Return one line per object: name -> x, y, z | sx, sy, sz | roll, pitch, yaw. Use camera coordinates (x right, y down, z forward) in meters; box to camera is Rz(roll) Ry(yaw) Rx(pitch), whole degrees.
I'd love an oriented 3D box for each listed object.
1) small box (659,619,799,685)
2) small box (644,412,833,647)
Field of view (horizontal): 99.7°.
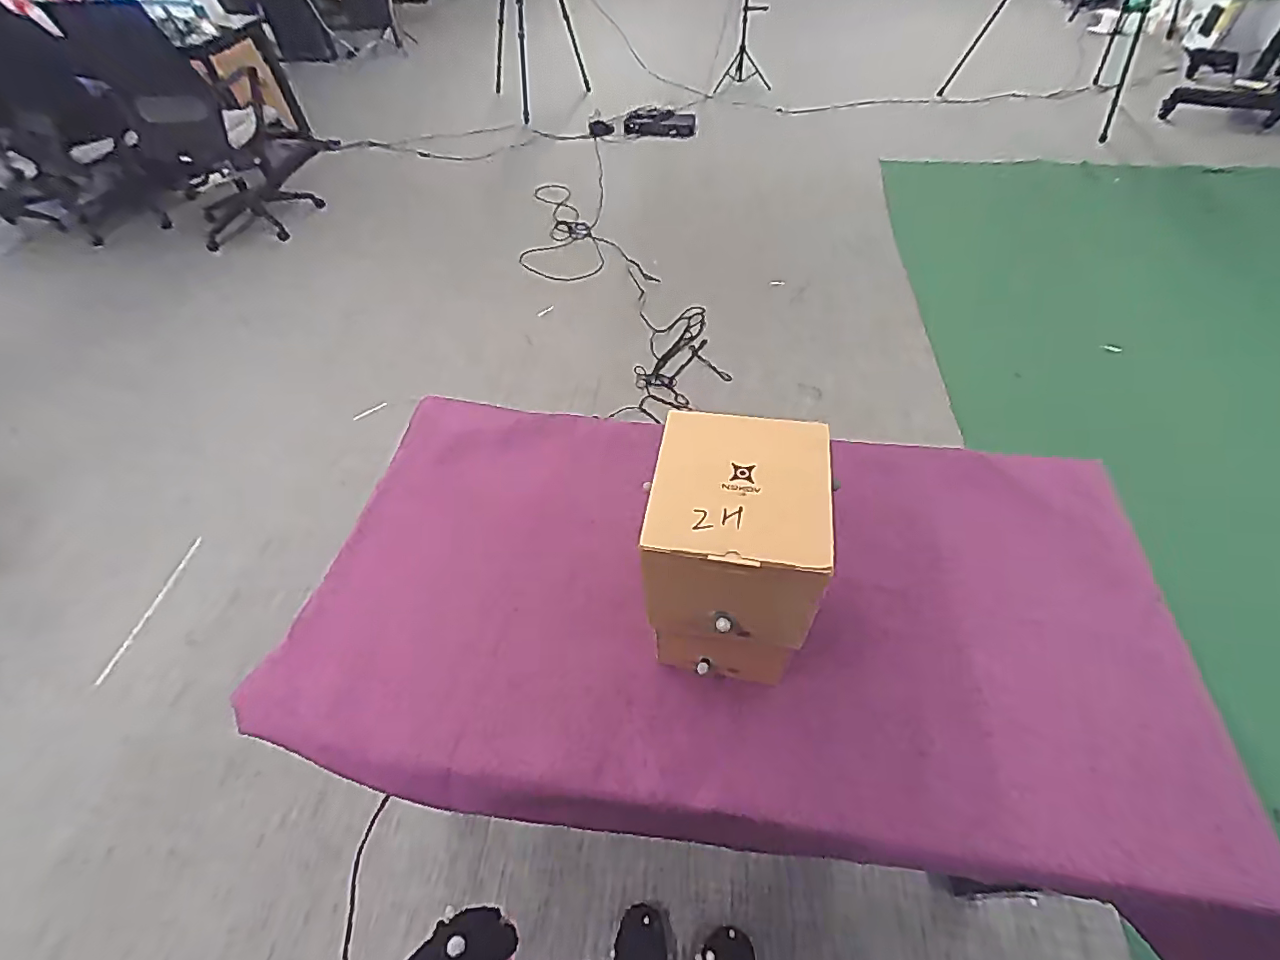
small box -> 0.118, 0.144, 0.713 | 0.168, 0.176, 0.179 | 8, 53, 11
small box -> 0.103, 0.053, 0.577 | 0.168, 0.176, 0.179 | 6, 52, 10
